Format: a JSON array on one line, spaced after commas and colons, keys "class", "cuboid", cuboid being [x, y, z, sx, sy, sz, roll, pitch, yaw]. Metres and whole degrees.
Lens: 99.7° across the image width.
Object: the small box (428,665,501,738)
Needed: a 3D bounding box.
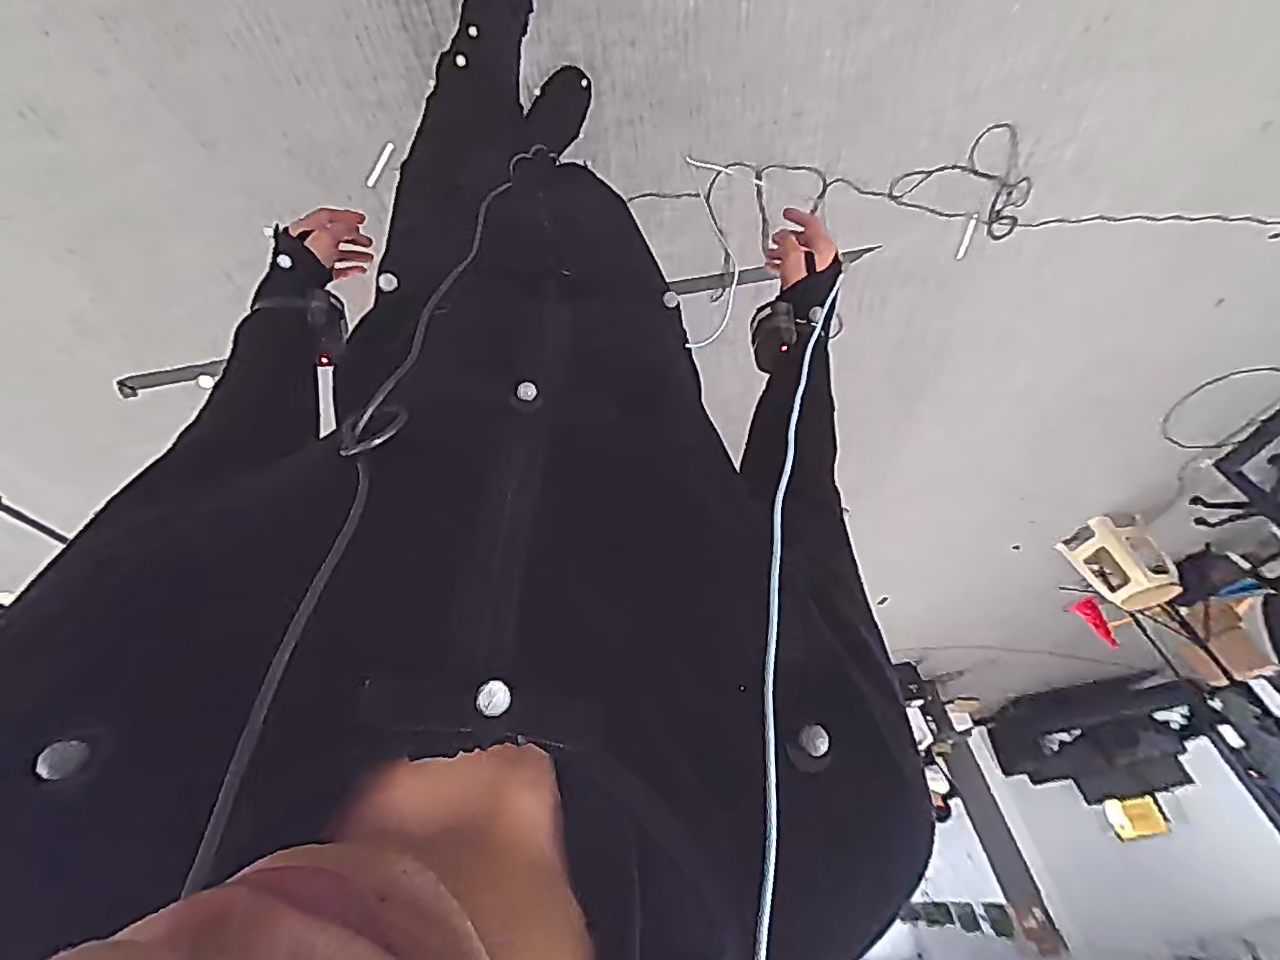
[{"class": "small box", "cuboid": [-0.557, 0.709, 1.737, 0.179, 0.176, 0.168, -10, 142, 1]}]
